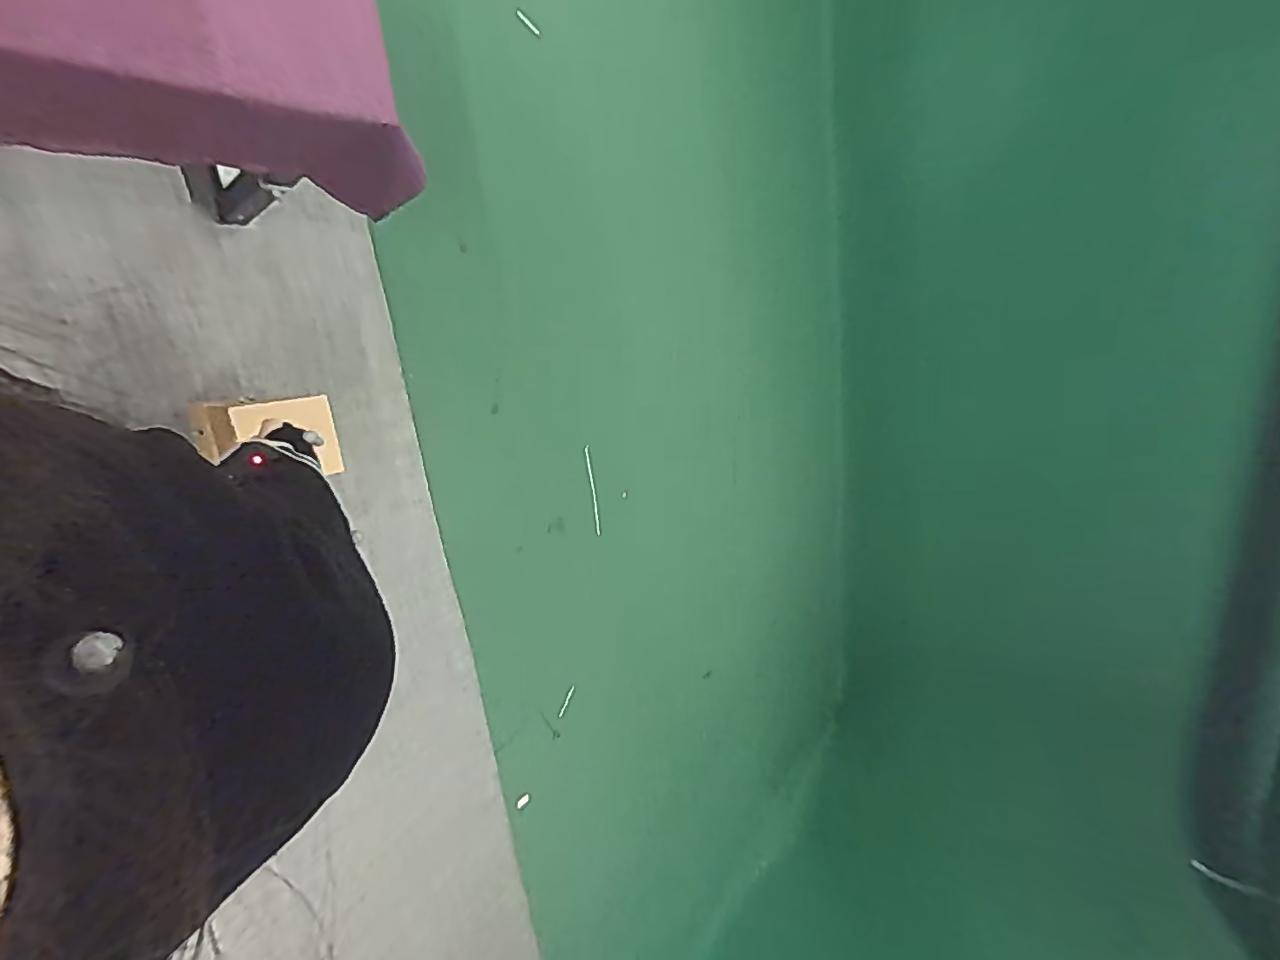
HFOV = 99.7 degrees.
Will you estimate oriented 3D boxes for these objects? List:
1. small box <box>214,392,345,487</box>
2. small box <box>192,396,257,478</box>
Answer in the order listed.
[{"bbox_3d":[-0.754,-0.090,1.127,0.179,0.176,0.168,-22,113,-47],"label":"small box"},{"bbox_3d":[-0.883,-0.104,1.226,0.179,0.176,0.168,-18,109,-48],"label":"small box"}]
